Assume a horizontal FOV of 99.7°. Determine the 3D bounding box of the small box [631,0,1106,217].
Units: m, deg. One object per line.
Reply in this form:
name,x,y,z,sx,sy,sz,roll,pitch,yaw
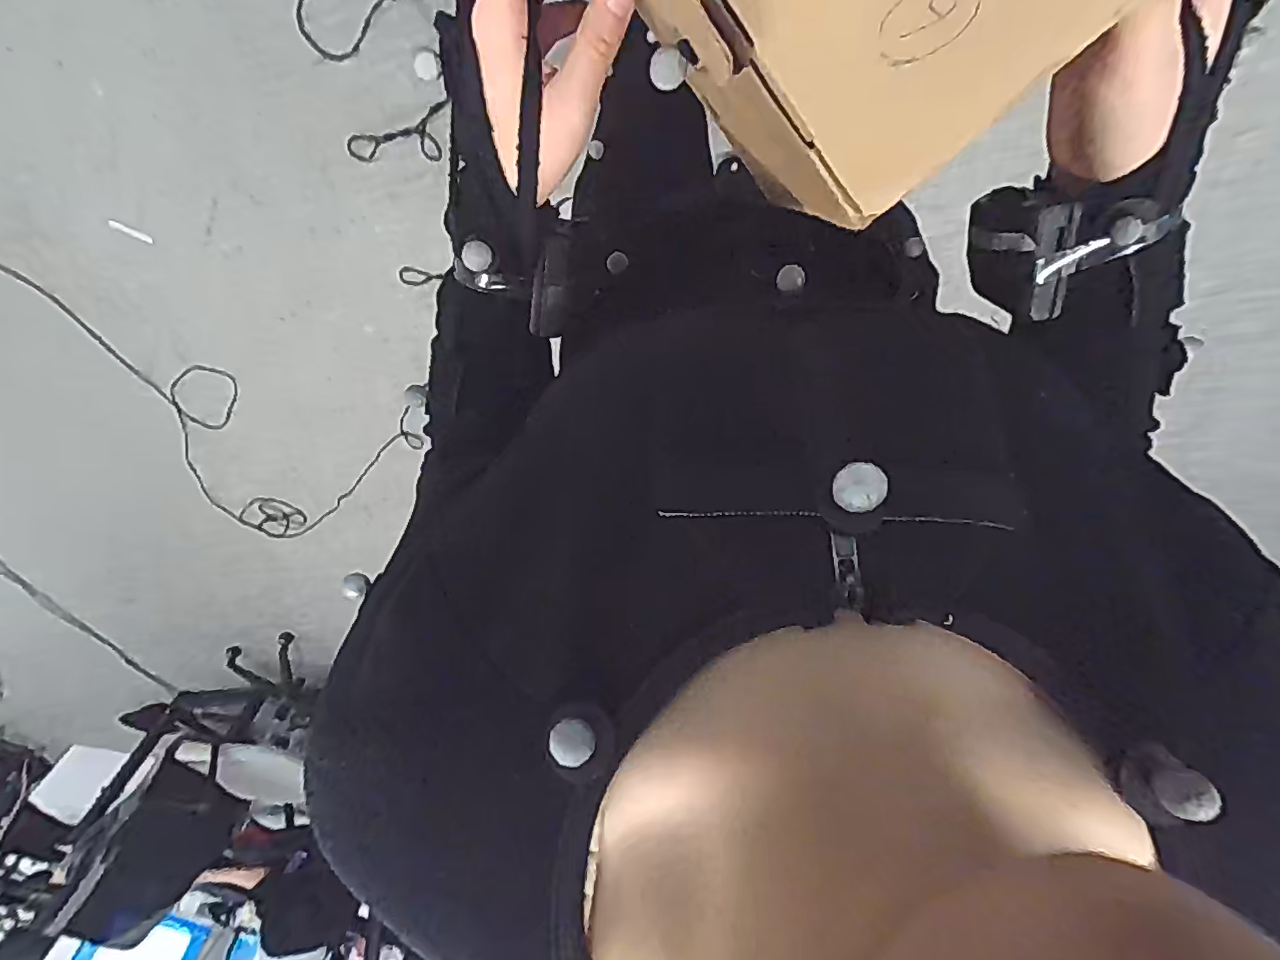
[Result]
small box,0.082,-0.227,0.195,0.179,0.176,0.168,-38,111,22
